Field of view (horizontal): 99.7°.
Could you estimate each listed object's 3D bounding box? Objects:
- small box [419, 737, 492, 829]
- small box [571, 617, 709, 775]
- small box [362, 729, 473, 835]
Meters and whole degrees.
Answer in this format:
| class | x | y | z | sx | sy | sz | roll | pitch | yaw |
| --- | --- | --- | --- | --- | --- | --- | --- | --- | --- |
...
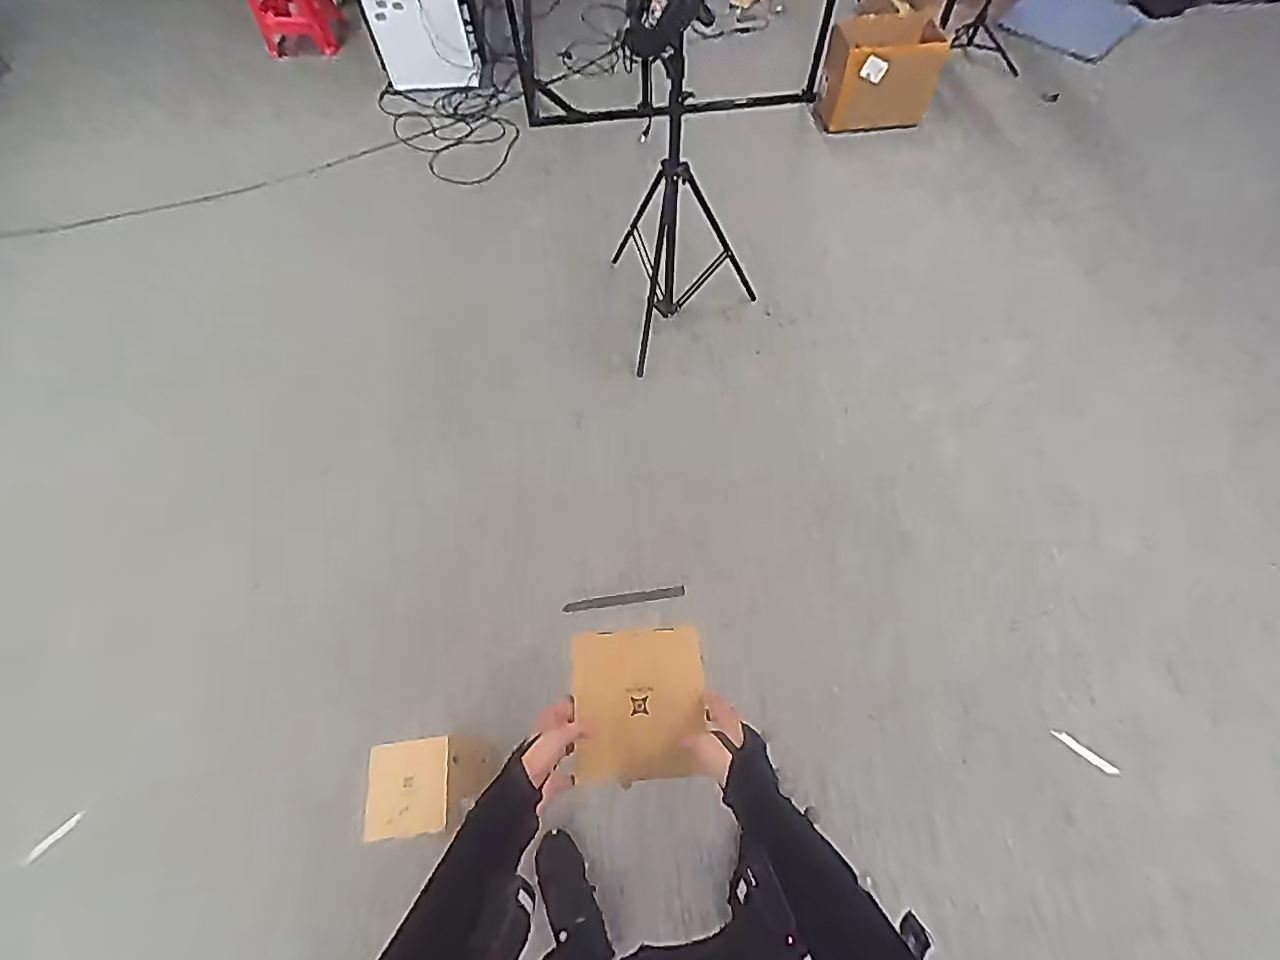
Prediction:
| class | x | y | z | sx | sy | sz | roll | pitch | yaw |
| --- | --- | --- | --- | --- | --- | --- | --- | --- | --- |
| small box | -0.462 | 0.730 | 1.306 | 0.168 | 0.176 | 0.179 | -7 | 62 | -1 |
| small box | -0.004 | 0.294 | 0.742 | 0.168 | 0.176 | 0.179 | -3 | 65 | -3 |
| small box | -0.468 | 0.646 | 1.166 | 0.168 | 0.176 | 0.179 | -7 | 63 | -1 |
